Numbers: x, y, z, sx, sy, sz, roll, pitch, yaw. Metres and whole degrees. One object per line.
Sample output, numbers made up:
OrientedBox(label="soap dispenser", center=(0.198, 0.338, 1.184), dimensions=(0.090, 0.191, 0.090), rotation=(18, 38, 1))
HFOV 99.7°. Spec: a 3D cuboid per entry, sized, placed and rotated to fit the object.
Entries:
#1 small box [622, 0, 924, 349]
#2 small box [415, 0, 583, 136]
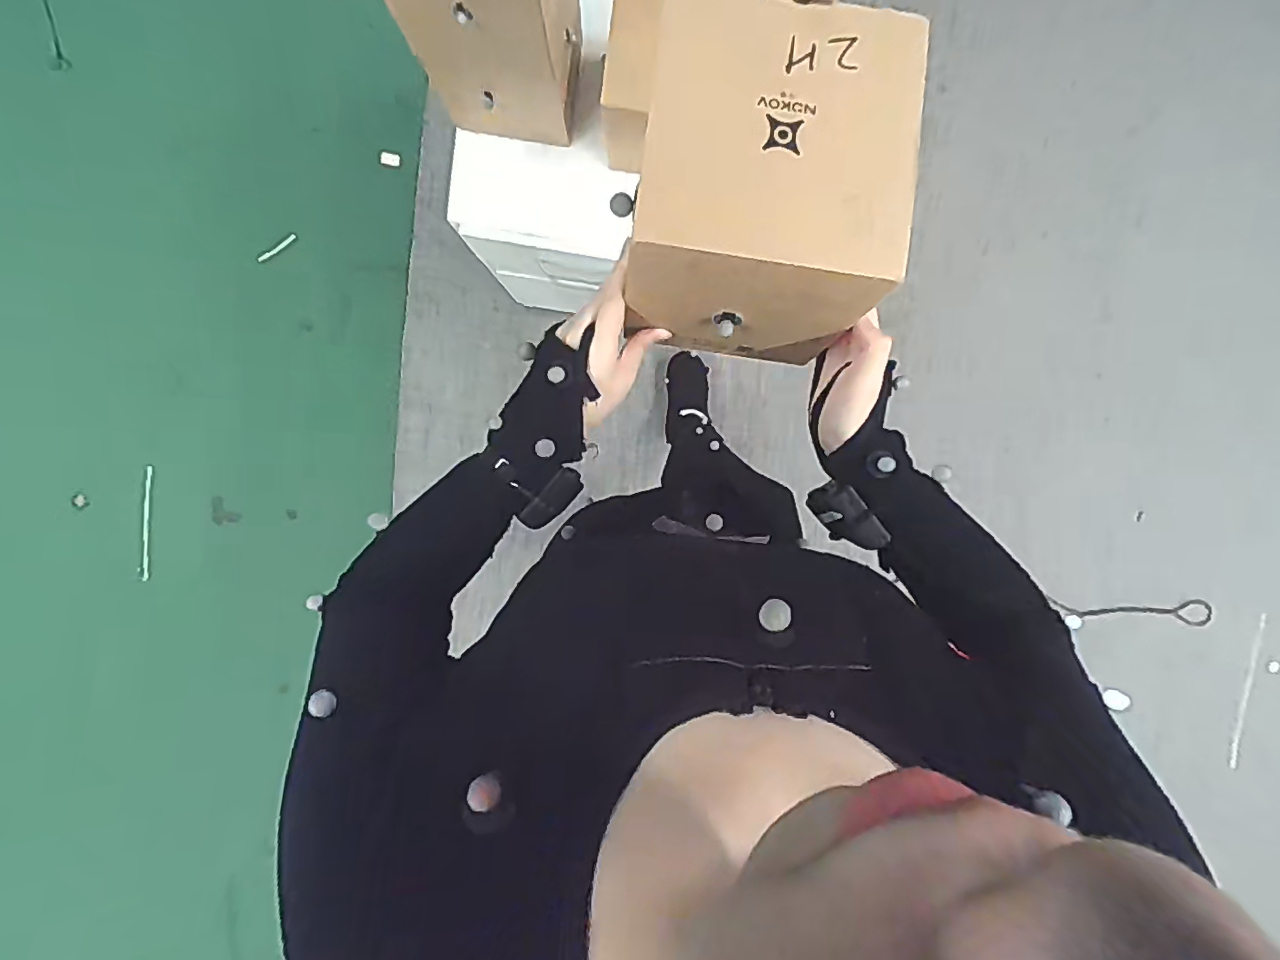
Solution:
OrientedBox(label="small box", center=(0.079, -0.213, 0.403), dimensions=(0.168, 0.176, 0.179), rotation=(8, 85, -3))
OrientedBox(label="small box", center=(-0.179, -0.599, 0.731), dimensions=(0.179, 0.176, 0.168), rotation=(7, 96, -2))
